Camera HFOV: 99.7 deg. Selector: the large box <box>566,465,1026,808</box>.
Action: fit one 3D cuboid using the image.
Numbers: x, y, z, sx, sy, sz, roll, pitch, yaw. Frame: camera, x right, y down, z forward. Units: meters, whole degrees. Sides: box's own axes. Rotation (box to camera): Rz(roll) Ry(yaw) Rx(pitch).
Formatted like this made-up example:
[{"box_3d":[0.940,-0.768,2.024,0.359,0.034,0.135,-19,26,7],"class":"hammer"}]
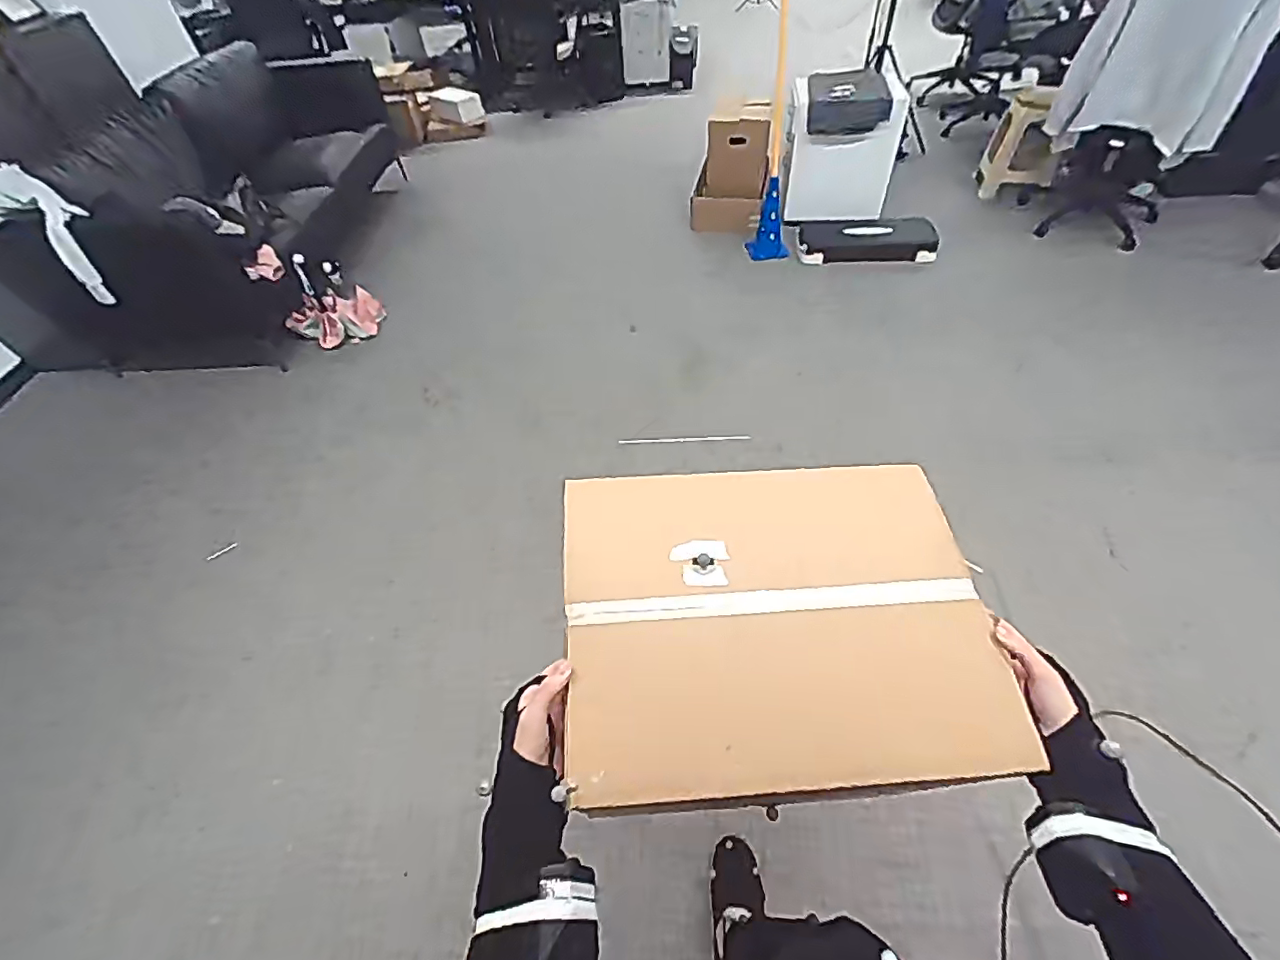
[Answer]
[{"box_3d":[0.128,0.203,0.660,0.408,0.320,0.320,-3,57,-3],"class":"large box"}]
